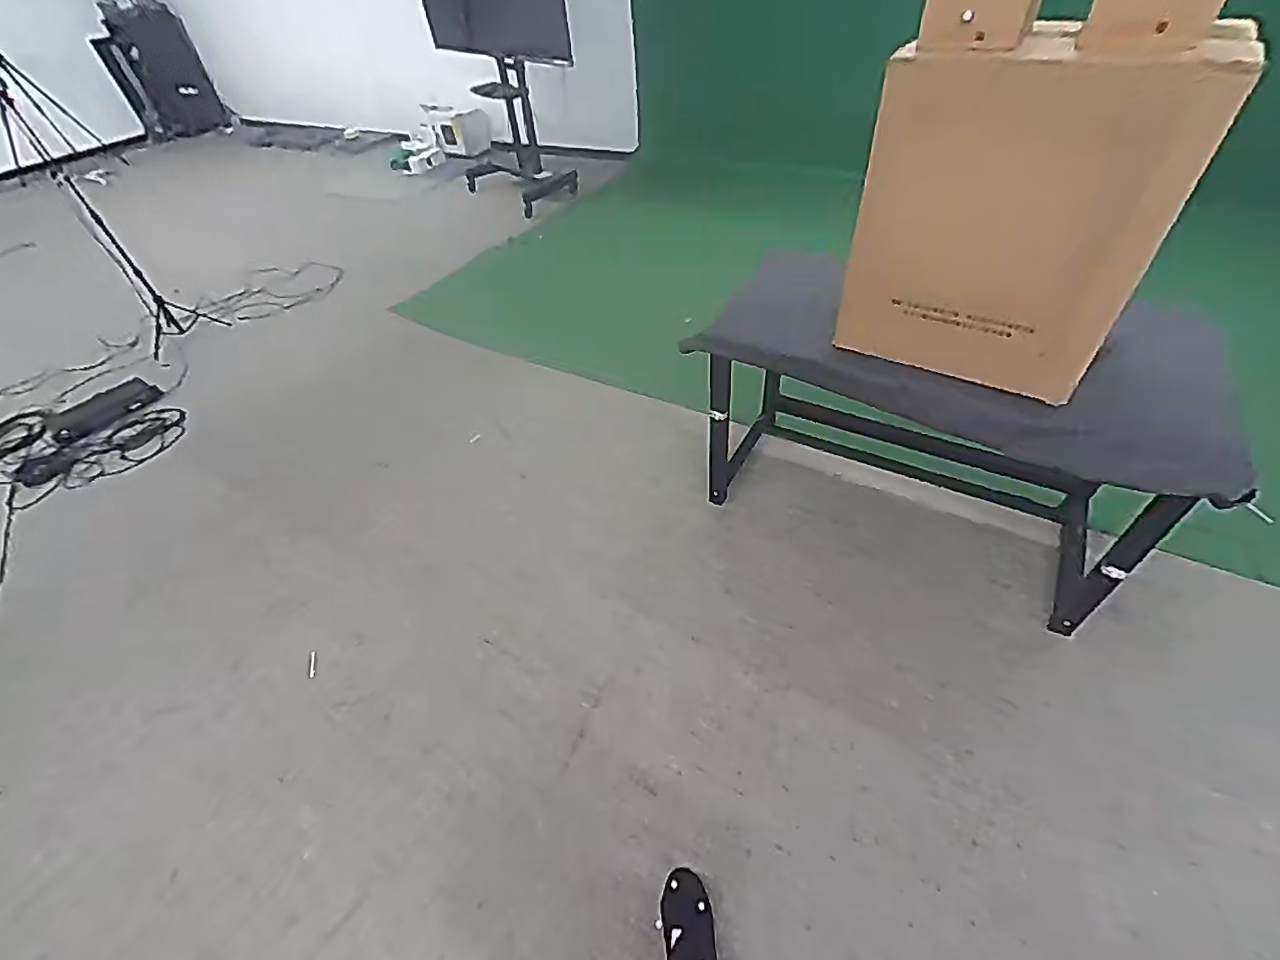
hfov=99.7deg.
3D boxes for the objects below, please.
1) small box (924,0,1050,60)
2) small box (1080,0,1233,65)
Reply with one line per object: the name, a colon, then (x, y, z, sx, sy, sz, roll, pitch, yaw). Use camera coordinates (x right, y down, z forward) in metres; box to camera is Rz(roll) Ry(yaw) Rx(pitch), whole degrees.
small box: (0.631, -0.871, 0.958, 0.168, 0.176, 0.179, 25, 55, 28)
small box: (0.844, -0.788, 0.866, 0.168, 0.176, 0.179, 22, 53, 21)
